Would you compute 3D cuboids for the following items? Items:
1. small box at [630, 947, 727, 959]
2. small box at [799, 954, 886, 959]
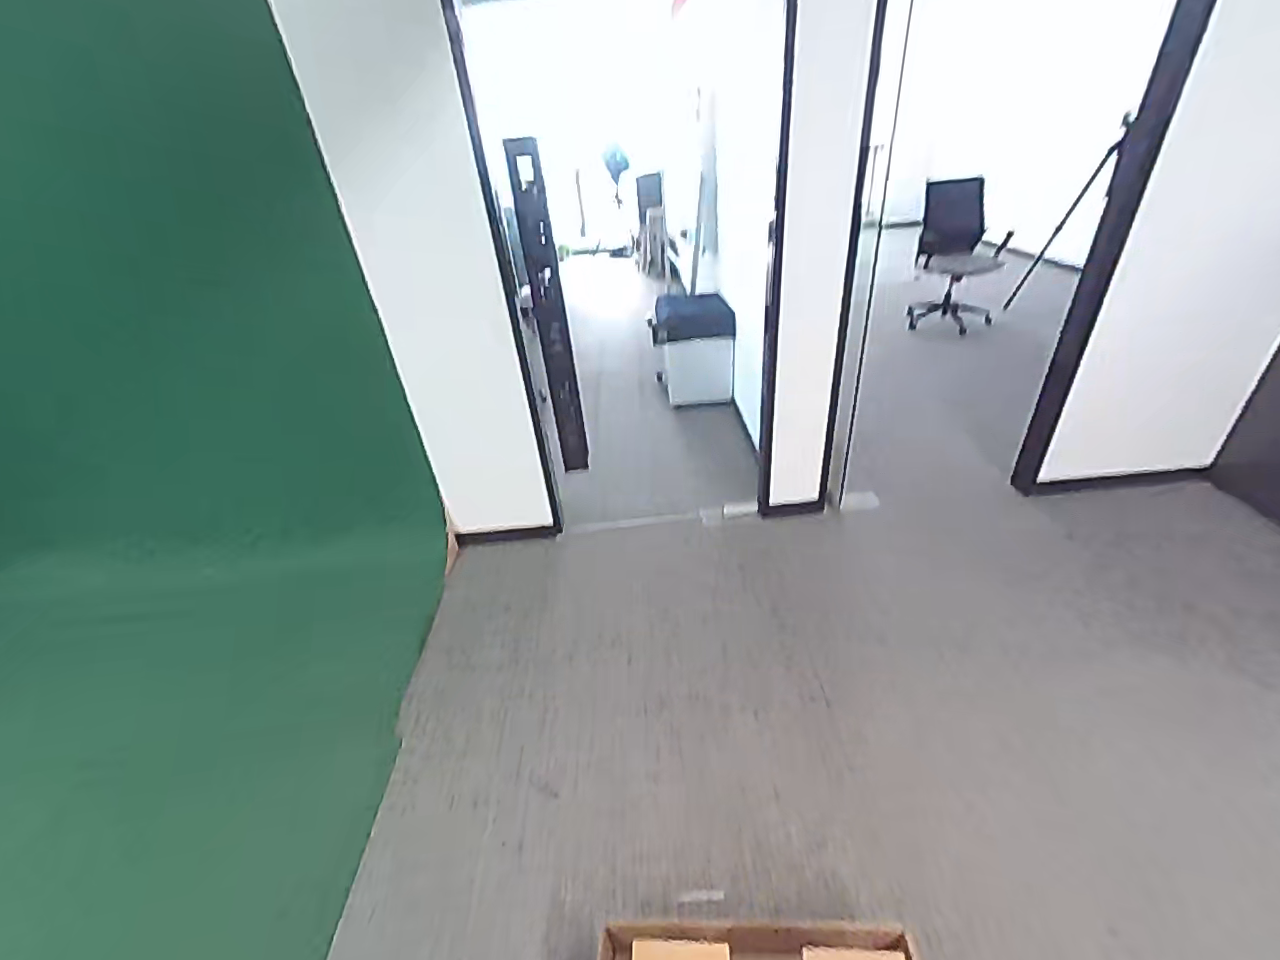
[{"bbox_3d":[0.062,0.905,0.878,0.168,0.176,0.179,-1,32,4],"label":"small box"},{"bbox_3d":[0.344,0.895,0.852,0.168,0.176,0.179,-2,31,6],"label":"small box"}]
